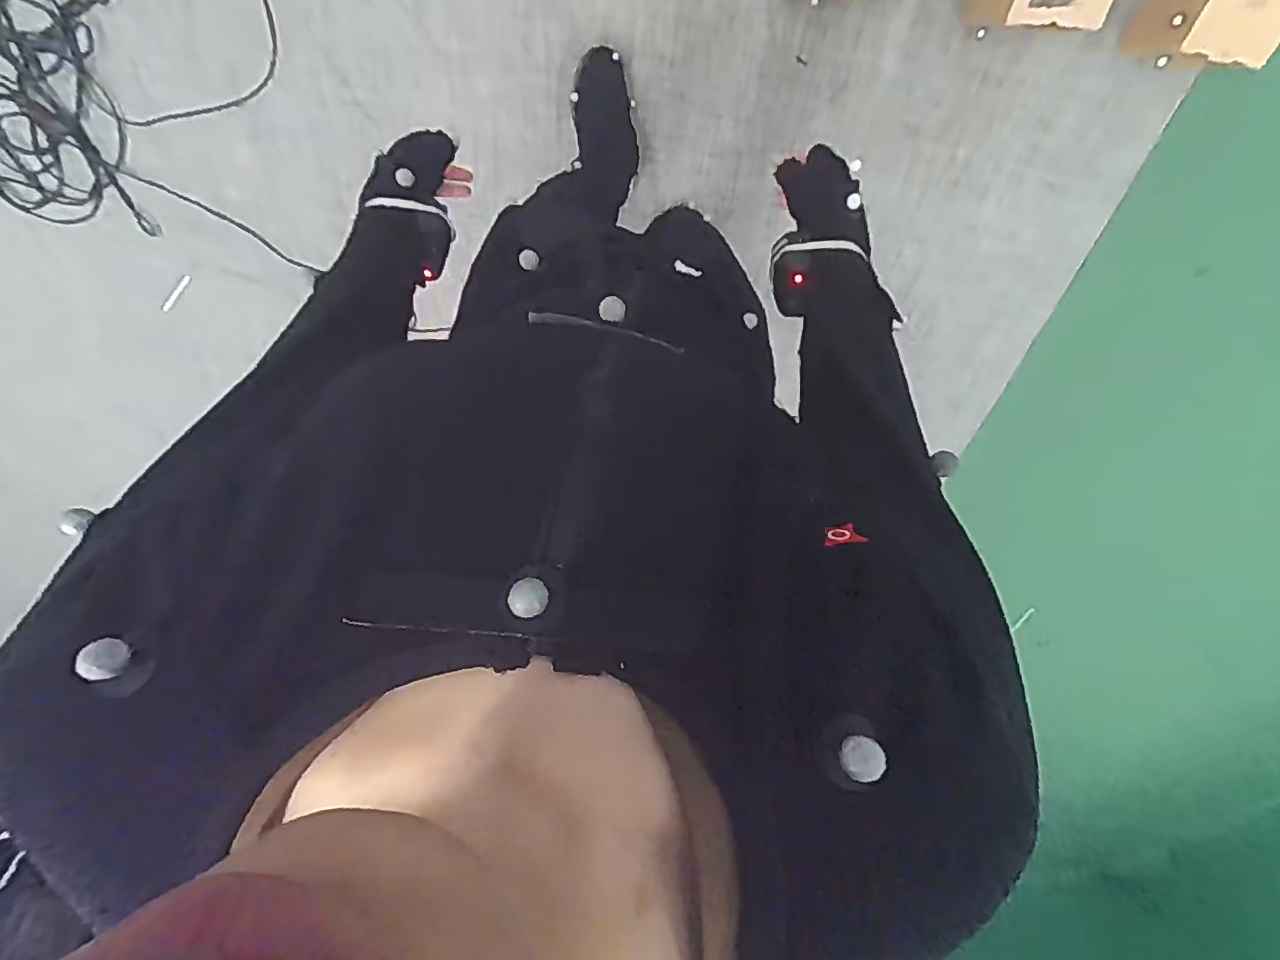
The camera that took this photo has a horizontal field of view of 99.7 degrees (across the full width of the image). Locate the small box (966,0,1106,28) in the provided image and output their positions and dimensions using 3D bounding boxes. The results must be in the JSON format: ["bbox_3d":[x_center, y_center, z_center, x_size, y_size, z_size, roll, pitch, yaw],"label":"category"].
[{"bbox_3d":[0.694,-0.890,0.920,0.168,0.176,0.179,2,129,-3],"label":"small box"}]

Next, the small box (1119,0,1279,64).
[{"bbox_3d":[1.015,-0.857,0.950,0.168,0.176,0.179,7,130,-5],"label":"small box"}]
